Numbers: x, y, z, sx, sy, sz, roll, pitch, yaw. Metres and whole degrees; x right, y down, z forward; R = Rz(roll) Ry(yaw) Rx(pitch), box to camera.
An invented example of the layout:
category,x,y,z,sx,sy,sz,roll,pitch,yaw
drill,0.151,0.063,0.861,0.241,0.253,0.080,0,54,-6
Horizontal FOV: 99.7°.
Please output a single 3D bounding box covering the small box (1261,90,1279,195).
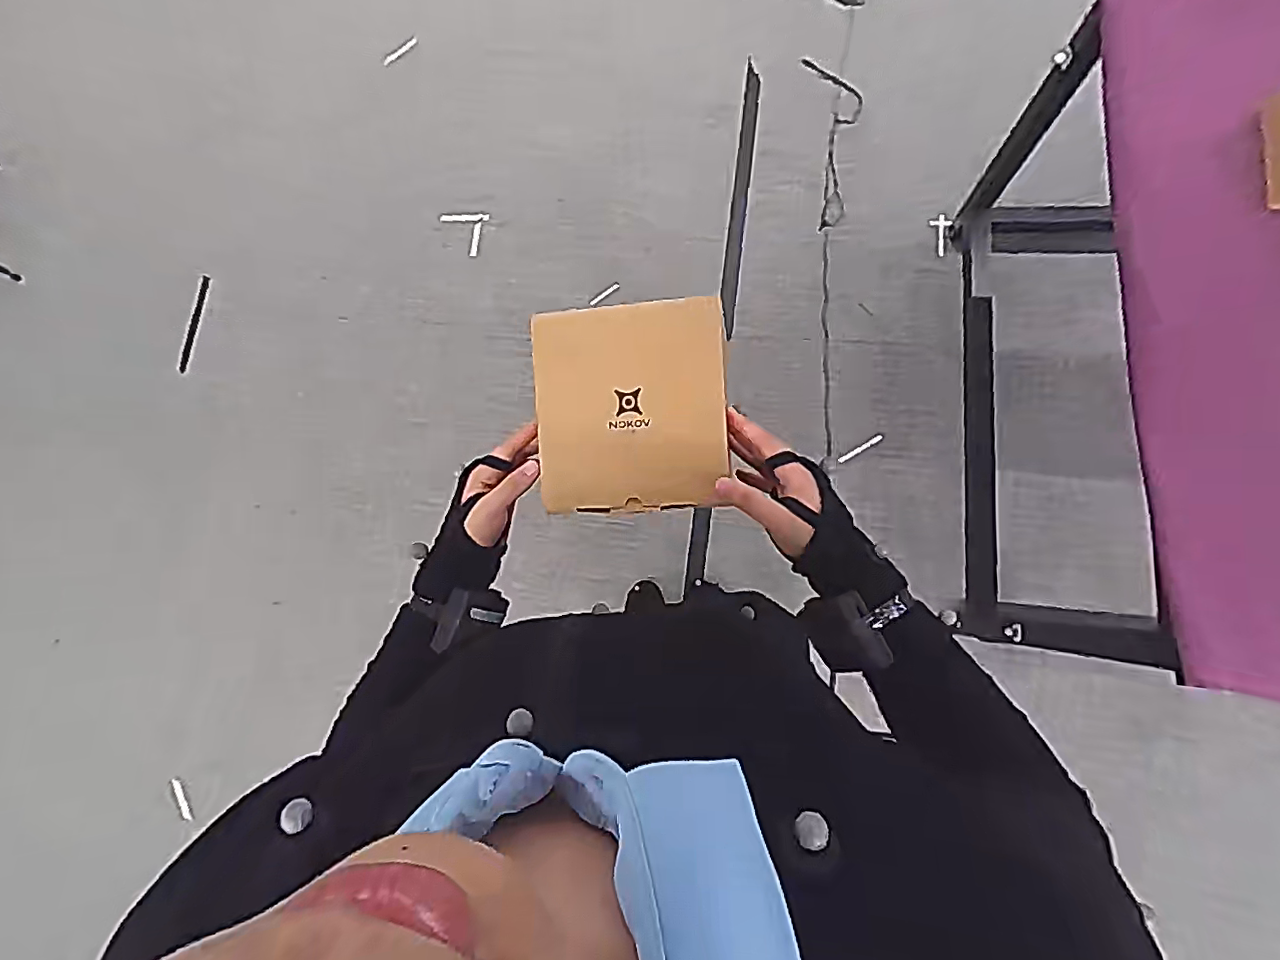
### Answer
category,x,y,z,sx,sy,sz,roll,pitch,yaw
small box,0.984,-0.483,0.705,0.168,0.176,0.179,6,80,8
